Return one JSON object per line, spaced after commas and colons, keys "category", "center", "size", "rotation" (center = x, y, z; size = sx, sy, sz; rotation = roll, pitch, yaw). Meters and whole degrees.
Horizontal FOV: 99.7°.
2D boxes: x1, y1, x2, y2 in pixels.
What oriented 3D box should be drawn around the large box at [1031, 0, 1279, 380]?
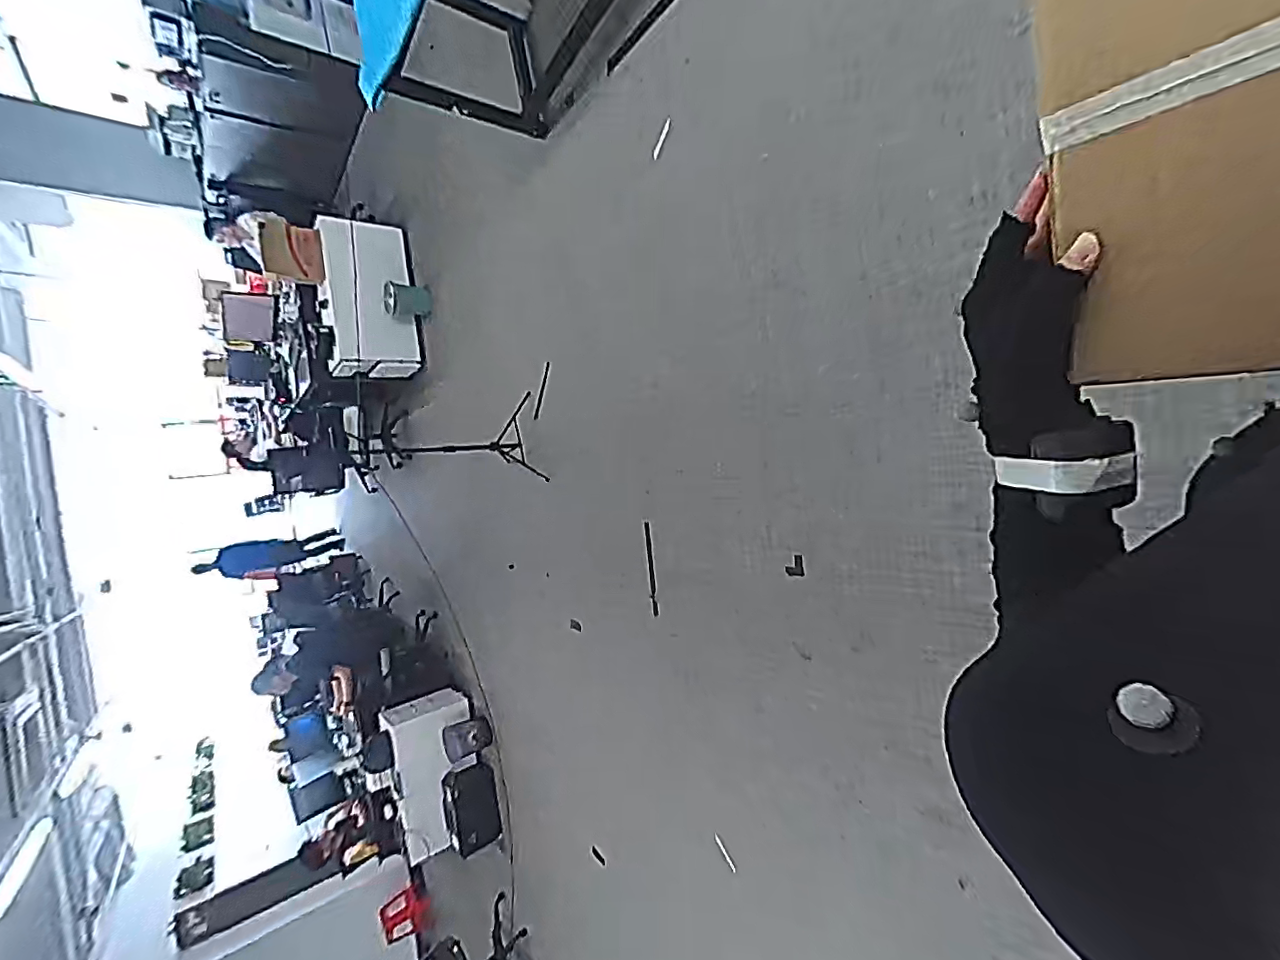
{"category": "large box", "center": [0.486, -0.258, 0.267], "size": [0.408, 0.320, 0.320], "rotation": [3, 114, 53]}
